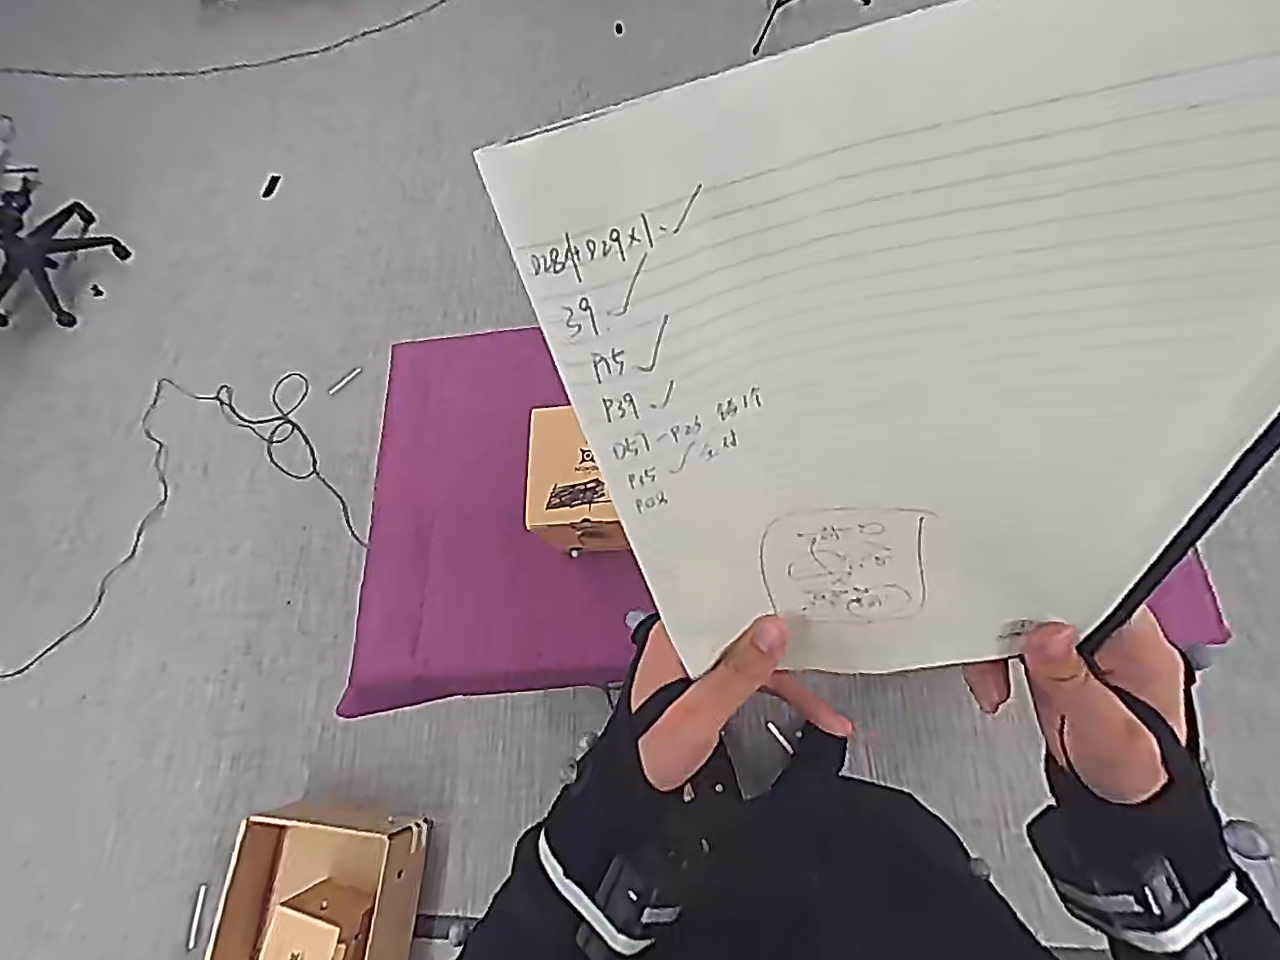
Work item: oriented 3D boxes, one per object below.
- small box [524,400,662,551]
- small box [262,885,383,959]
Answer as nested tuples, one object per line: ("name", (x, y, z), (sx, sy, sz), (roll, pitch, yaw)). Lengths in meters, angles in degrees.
("small box", (-0.059, 0.004, 0.791), (0.168, 0.176, 0.179), (-4, 70, 8))
("small box", (-0.737, 1.082, 1.254), (0.179, 0.176, 0.168), (9, 73, 12))
